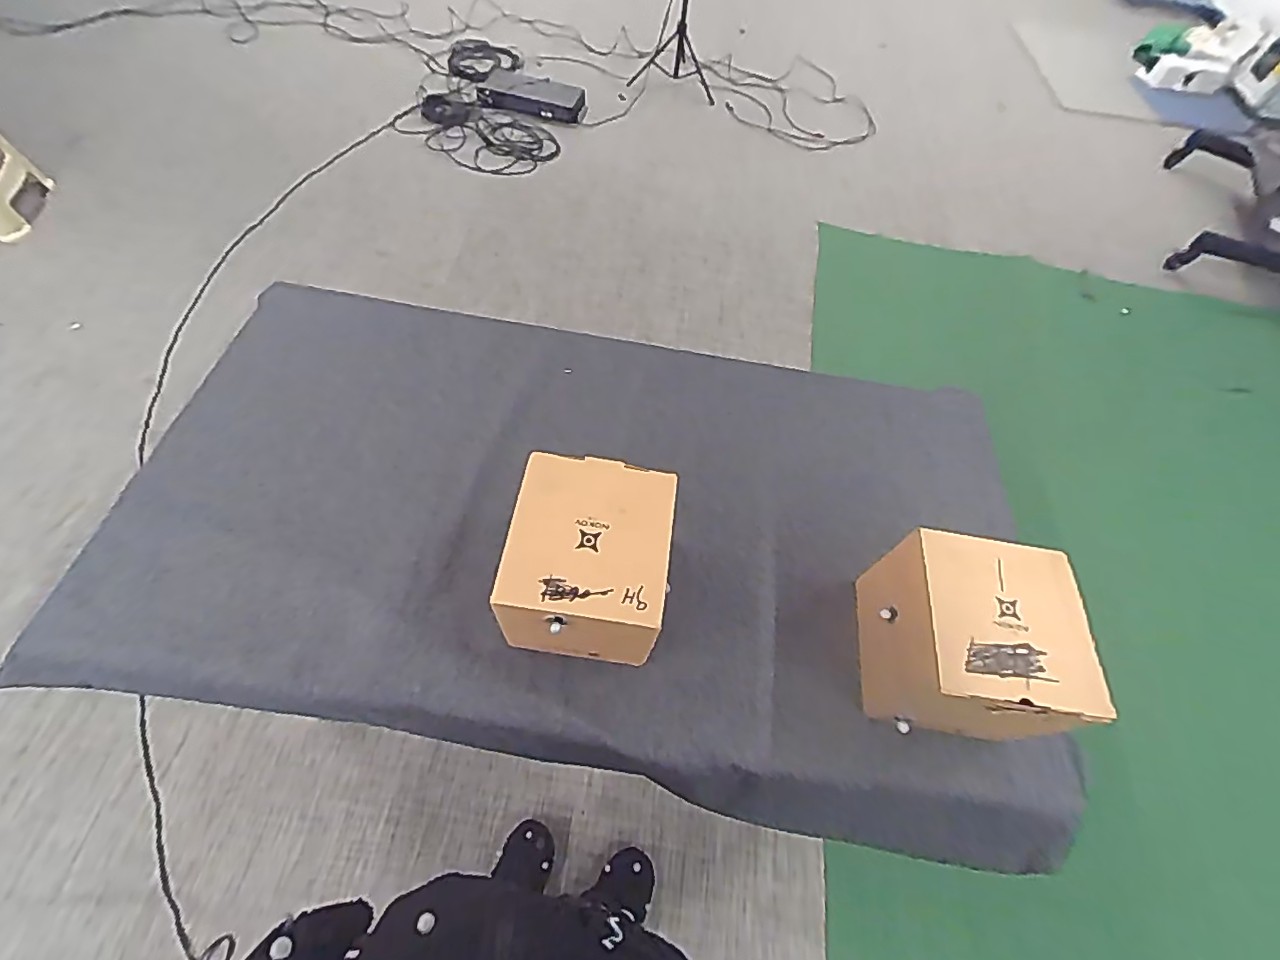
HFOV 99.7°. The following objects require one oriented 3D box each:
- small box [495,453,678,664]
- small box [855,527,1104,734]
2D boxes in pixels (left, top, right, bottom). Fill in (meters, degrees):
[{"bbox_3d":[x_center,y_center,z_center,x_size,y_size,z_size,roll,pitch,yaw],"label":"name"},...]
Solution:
[{"bbox_3d":[-0.057,0.096,0.627,0.168,0.176,0.179,9,58,0],"label":"small box"},{"bbox_3d":[0.362,0.180,0.619,0.168,0.176,0.179,10,58,1],"label":"small box"}]
